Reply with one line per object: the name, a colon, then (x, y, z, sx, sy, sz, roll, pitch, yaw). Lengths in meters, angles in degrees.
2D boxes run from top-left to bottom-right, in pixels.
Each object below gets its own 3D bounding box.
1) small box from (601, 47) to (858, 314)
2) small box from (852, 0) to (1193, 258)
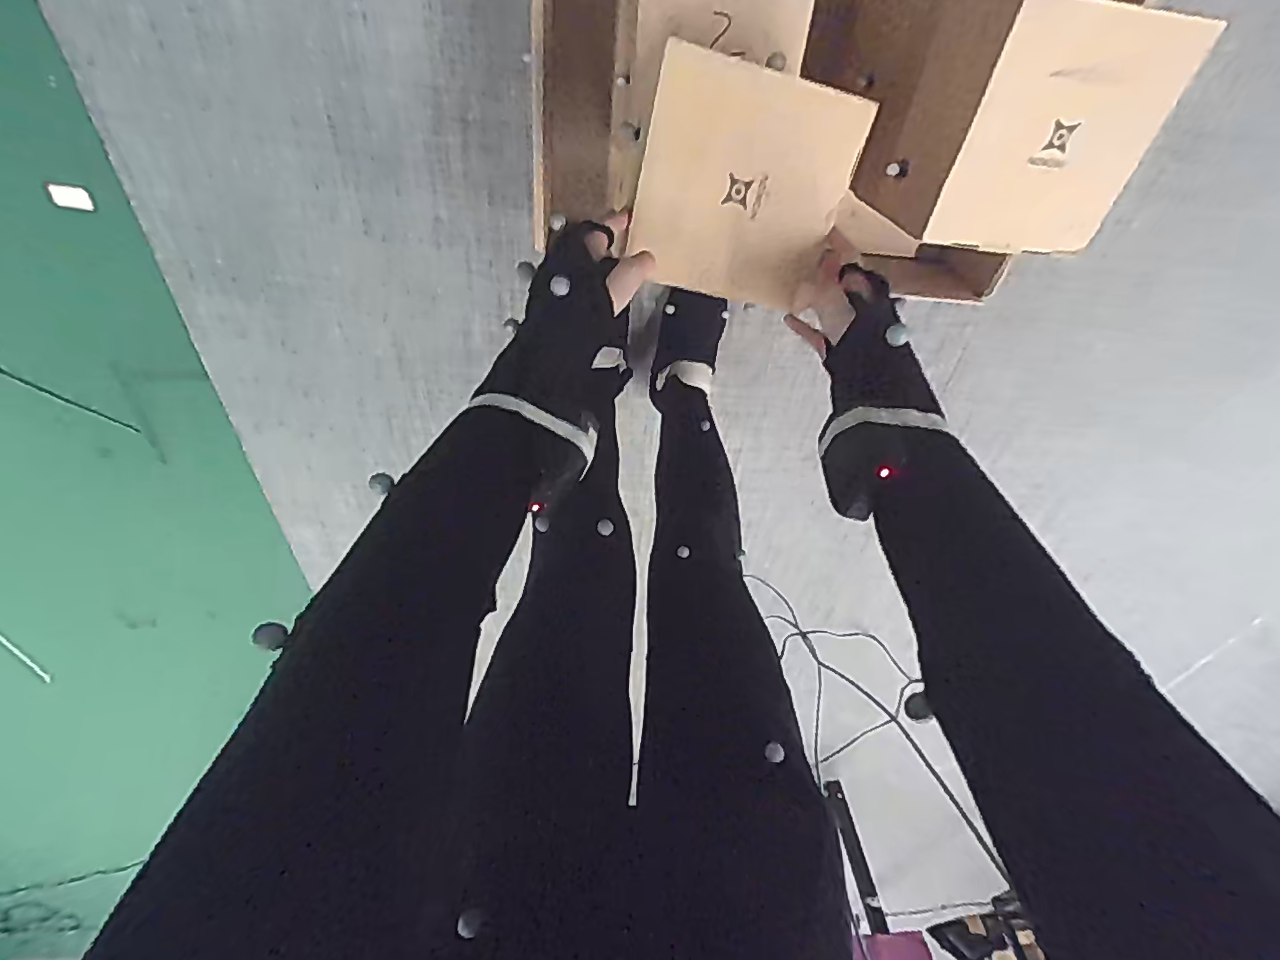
small box: (0.064, -0.275, 0.519, 0.179, 0.176, 0.168, 7, 119, -14)
small box: (0.327, -0.336, 0.515, 0.168, 0.176, 0.179, 3, 130, -8)
